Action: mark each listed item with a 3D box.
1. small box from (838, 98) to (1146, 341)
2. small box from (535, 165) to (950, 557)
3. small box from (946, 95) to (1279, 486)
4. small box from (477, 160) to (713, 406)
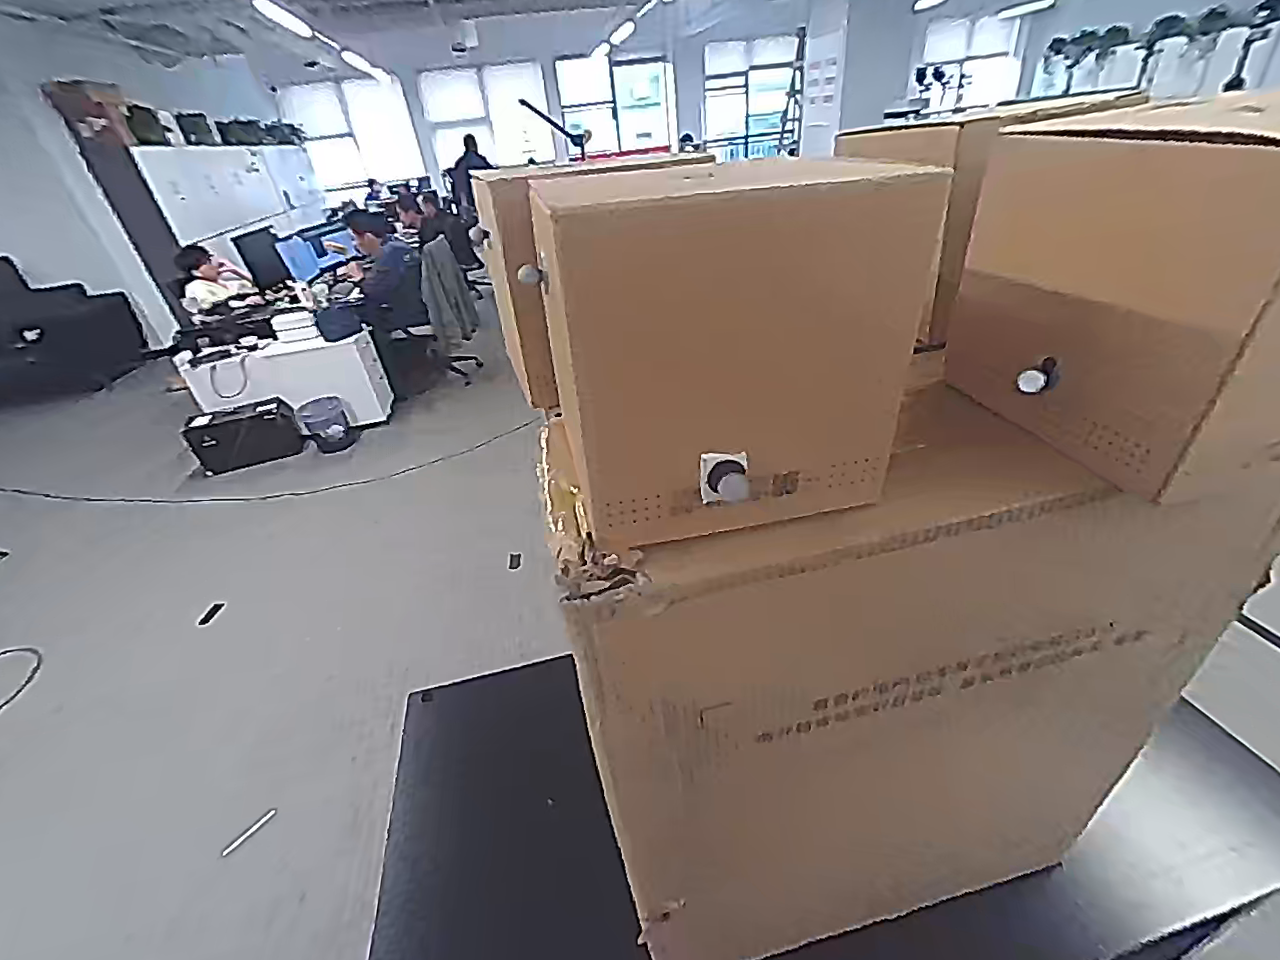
[{"bbox_3d":[0.300,-0.242,0.514,0.168,0.176,0.179,-13,31,-7],"label":"small box"},{"bbox_3d":[0.035,-0.081,0.321,0.168,0.176,0.179,-11,34,-8],"label":"small box"},{"bbox_3d":[0.321,-0.111,0.317,0.168,0.176,0.179,-12,36,-7],"label":"small box"},{"bbox_3d":[-0.043,-0.182,0.486,0.168,0.176,0.179,-14,32,-13],"label":"small box"}]
